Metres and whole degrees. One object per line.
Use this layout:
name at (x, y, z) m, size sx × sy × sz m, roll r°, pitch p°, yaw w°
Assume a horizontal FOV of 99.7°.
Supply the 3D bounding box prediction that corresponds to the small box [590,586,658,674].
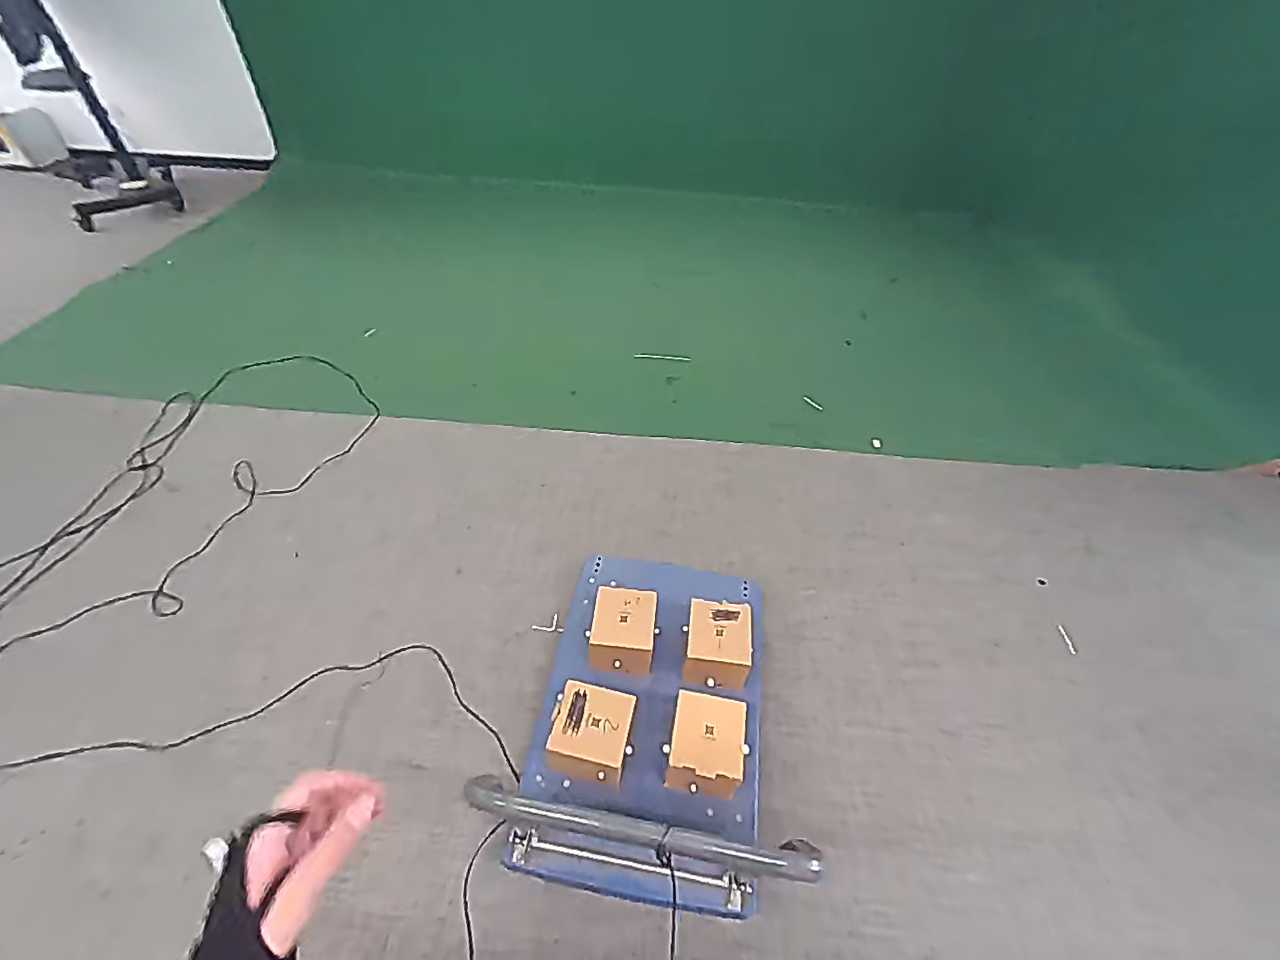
small box at (-0.042, 0.420, 1.501) m, size 0.168 × 0.176 × 0.179 m, roll 7°, pitch 47°, yaw 2°

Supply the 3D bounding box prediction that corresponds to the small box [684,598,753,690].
small box at (0.213, 0.451, 1.485) m, size 0.168 × 0.176 × 0.179 m, roll 7°, pitch 48°, yaw 4°

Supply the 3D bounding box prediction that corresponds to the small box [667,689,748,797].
small box at (0.160, 0.638, 1.308) m, size 0.168 × 0.176 × 0.179 m, roll 9°, pitch 48°, yaw 5°
